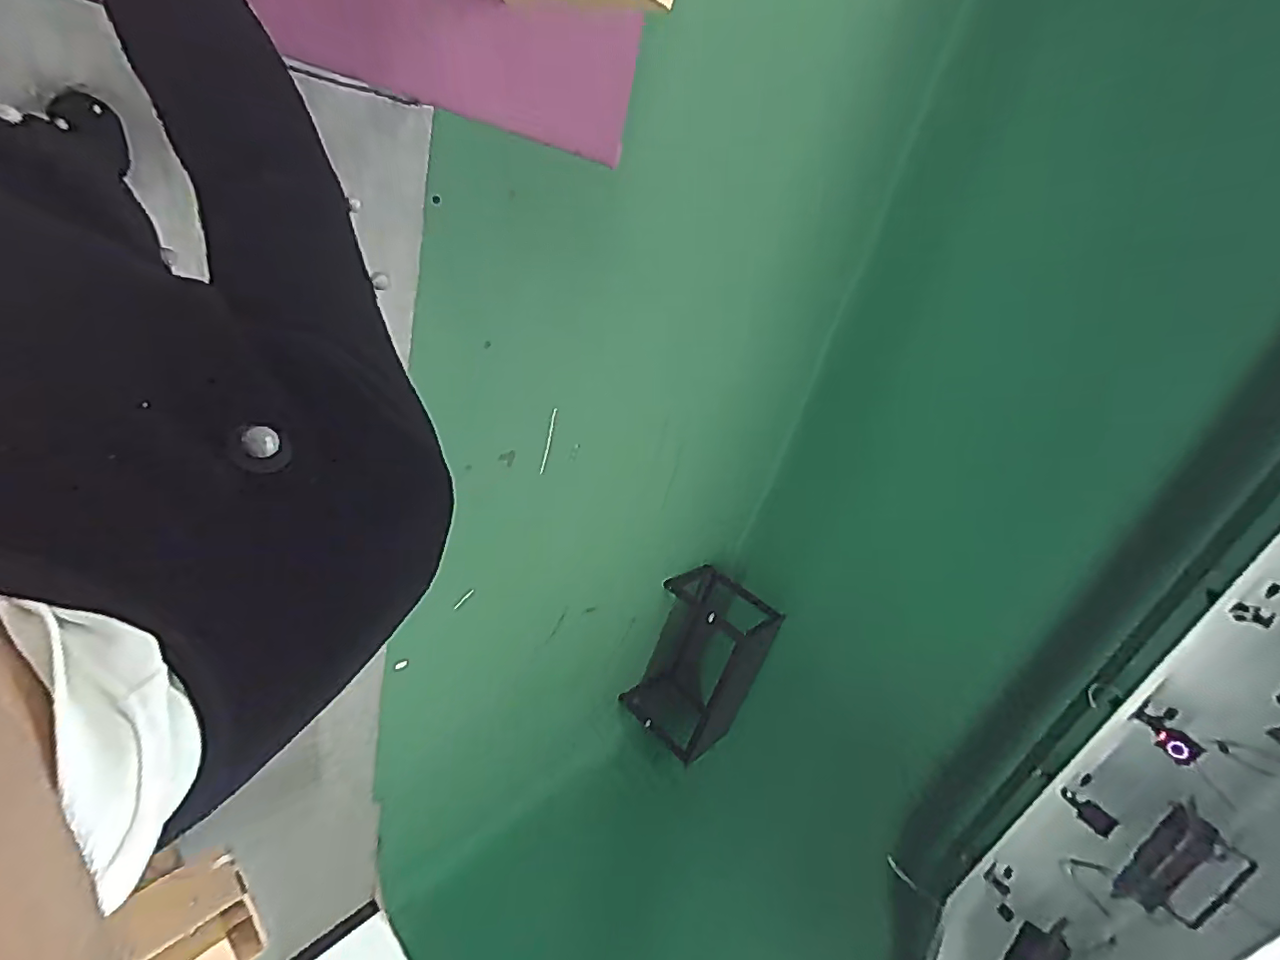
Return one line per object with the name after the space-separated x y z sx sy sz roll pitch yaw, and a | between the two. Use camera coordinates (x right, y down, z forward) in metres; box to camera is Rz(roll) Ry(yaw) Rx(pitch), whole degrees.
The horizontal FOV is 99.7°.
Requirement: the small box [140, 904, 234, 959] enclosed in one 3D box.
-1.293 1.376 1.551 0.168 0.176 0.179 -22 134 -44 | small box
